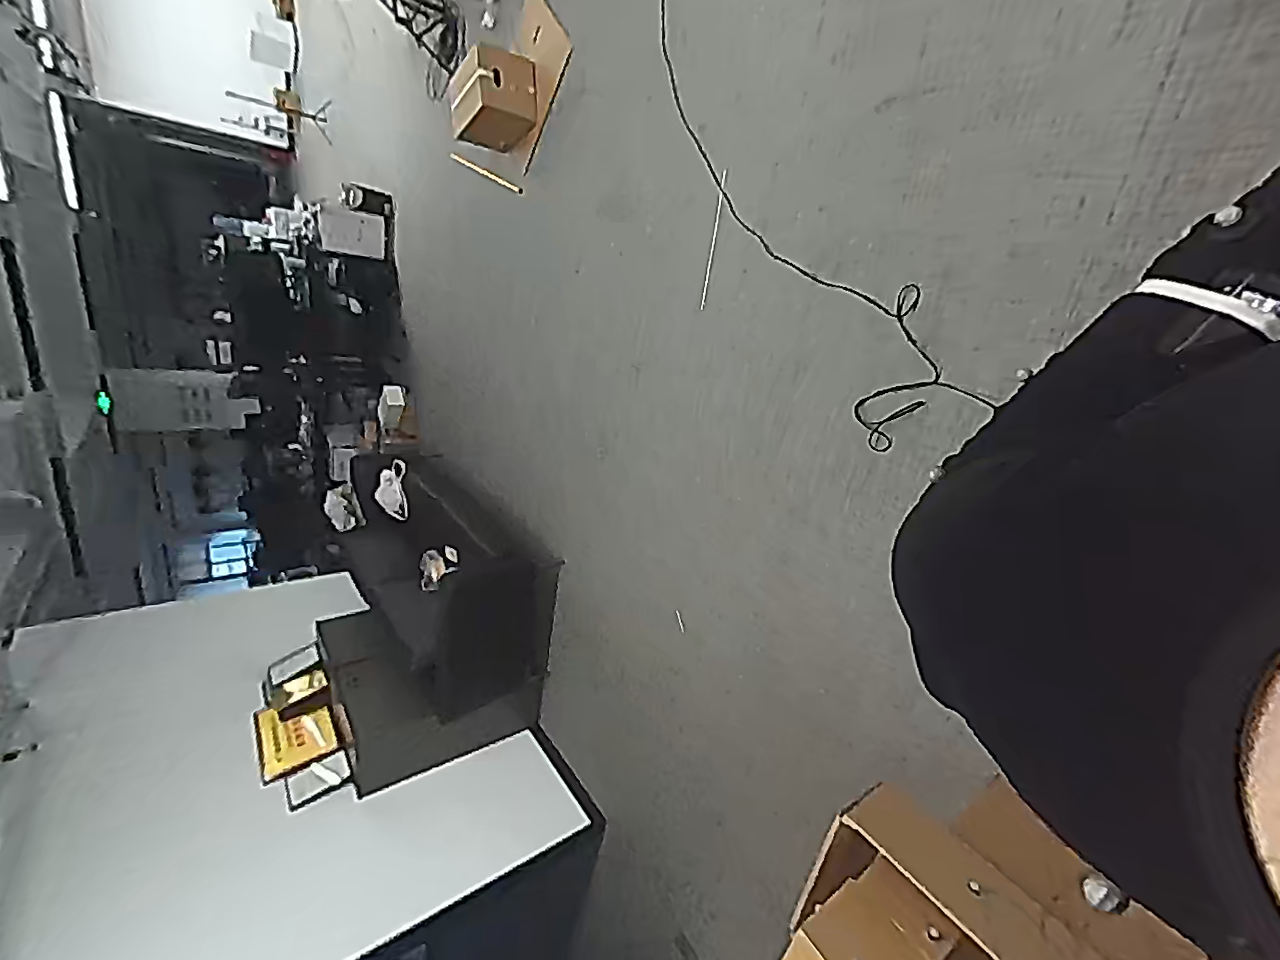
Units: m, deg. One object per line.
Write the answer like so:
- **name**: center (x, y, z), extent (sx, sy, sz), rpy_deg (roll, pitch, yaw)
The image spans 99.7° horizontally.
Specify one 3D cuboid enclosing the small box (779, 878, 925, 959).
- **small box**: center (0.383, 0.883, 0.978), extent (0.179, 0.176, 0.168), rpy_deg (37, 123, 45)
